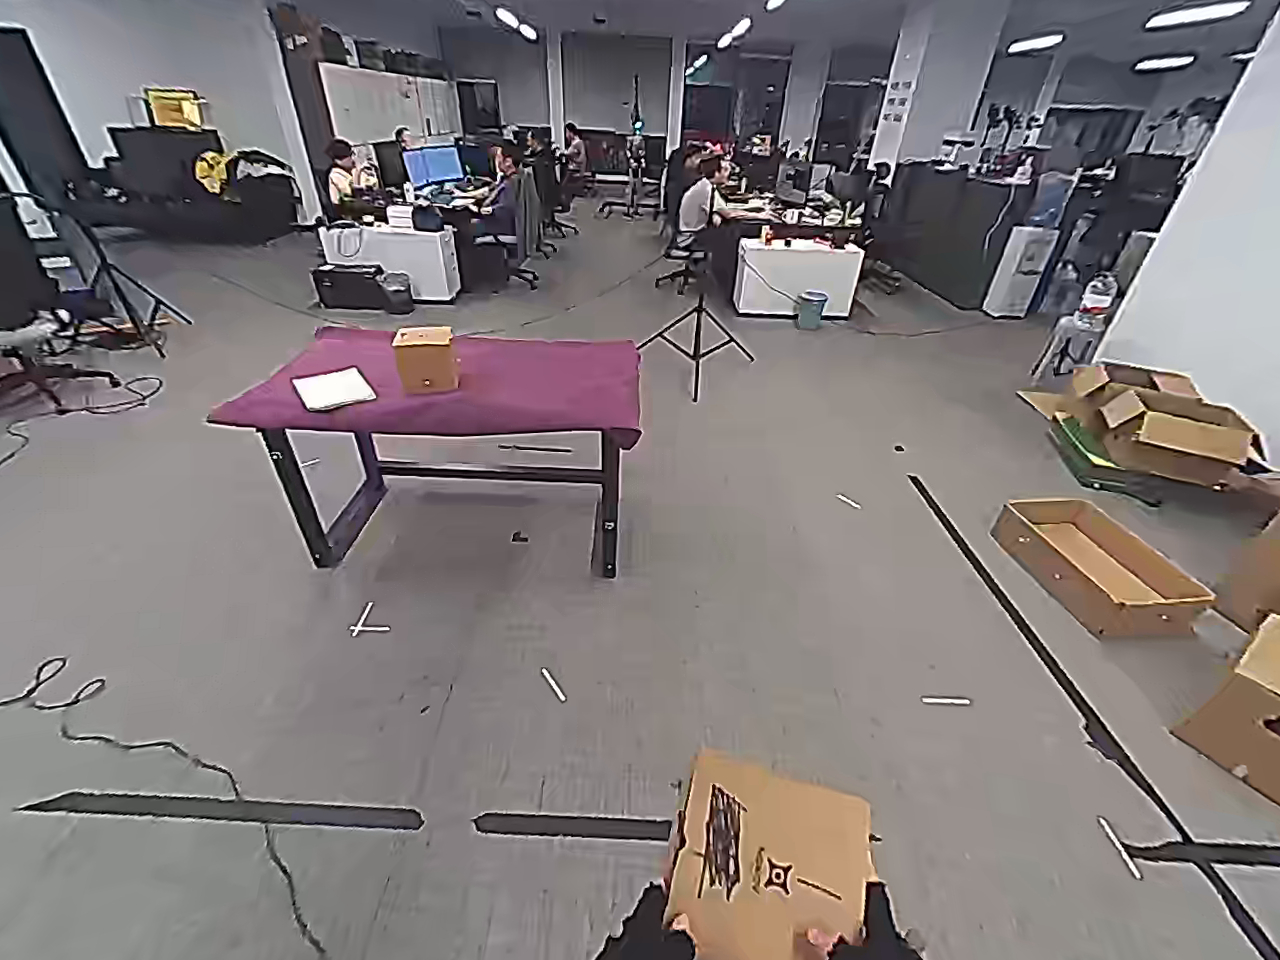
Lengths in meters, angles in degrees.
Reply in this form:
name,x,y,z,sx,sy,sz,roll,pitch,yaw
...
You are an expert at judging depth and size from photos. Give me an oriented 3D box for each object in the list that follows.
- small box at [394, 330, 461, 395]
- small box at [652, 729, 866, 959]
name,x,y,z,sx,sy,sz,roll,pitch,yaw
small box,-0.712,-0.399,1.834,0.179,0.176,0.168,-4,34,-11
small box,0.116,0.381,0.567,0.179,0.176,0.168,14,61,9
